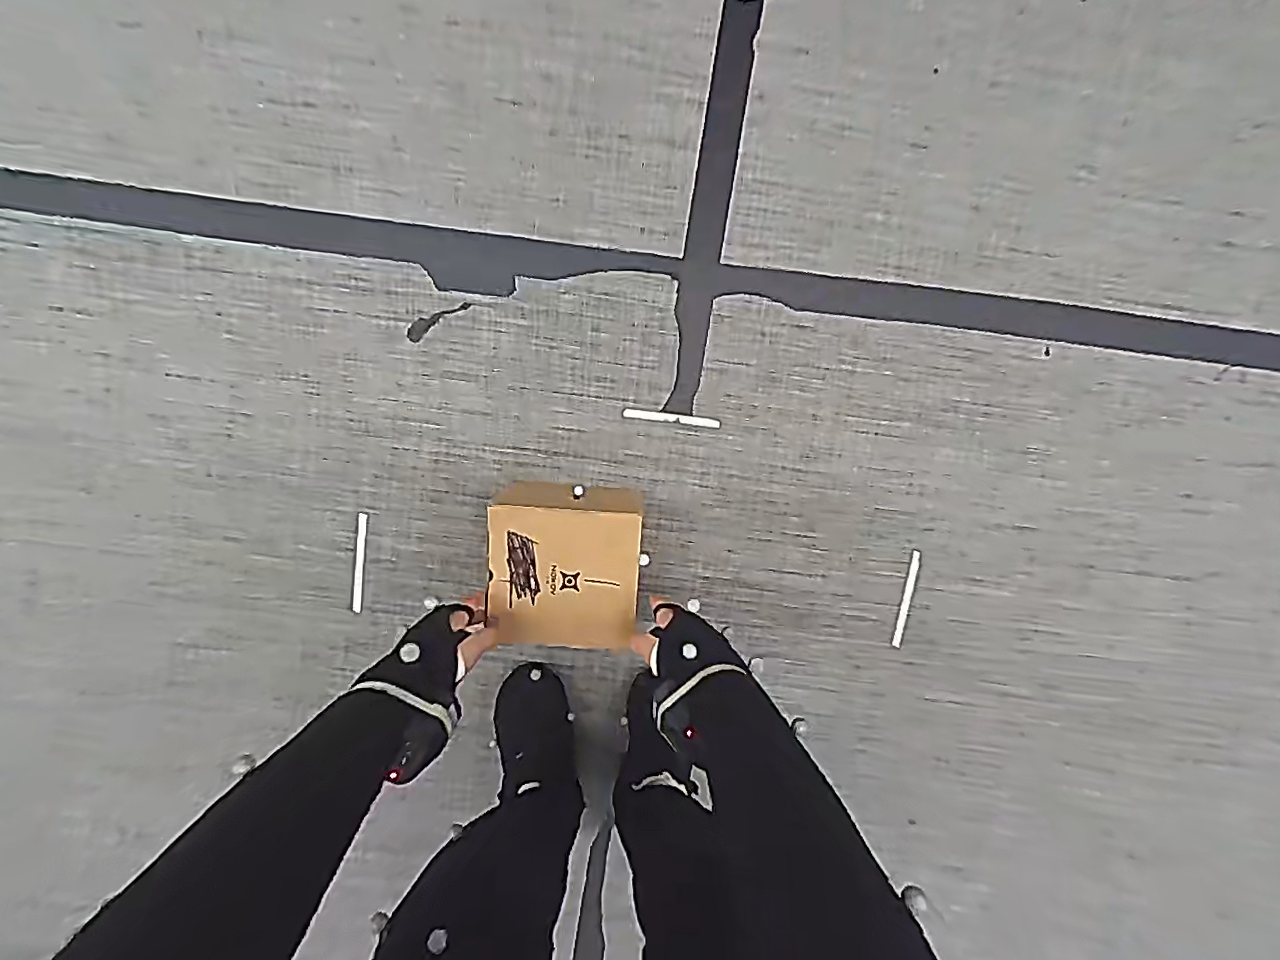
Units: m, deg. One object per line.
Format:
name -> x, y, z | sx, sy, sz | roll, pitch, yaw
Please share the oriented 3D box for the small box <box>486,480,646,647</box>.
small box -> -0.086, 0.096, 0.691 | 0.179, 0.176, 0.168 | 3, 99, -2
